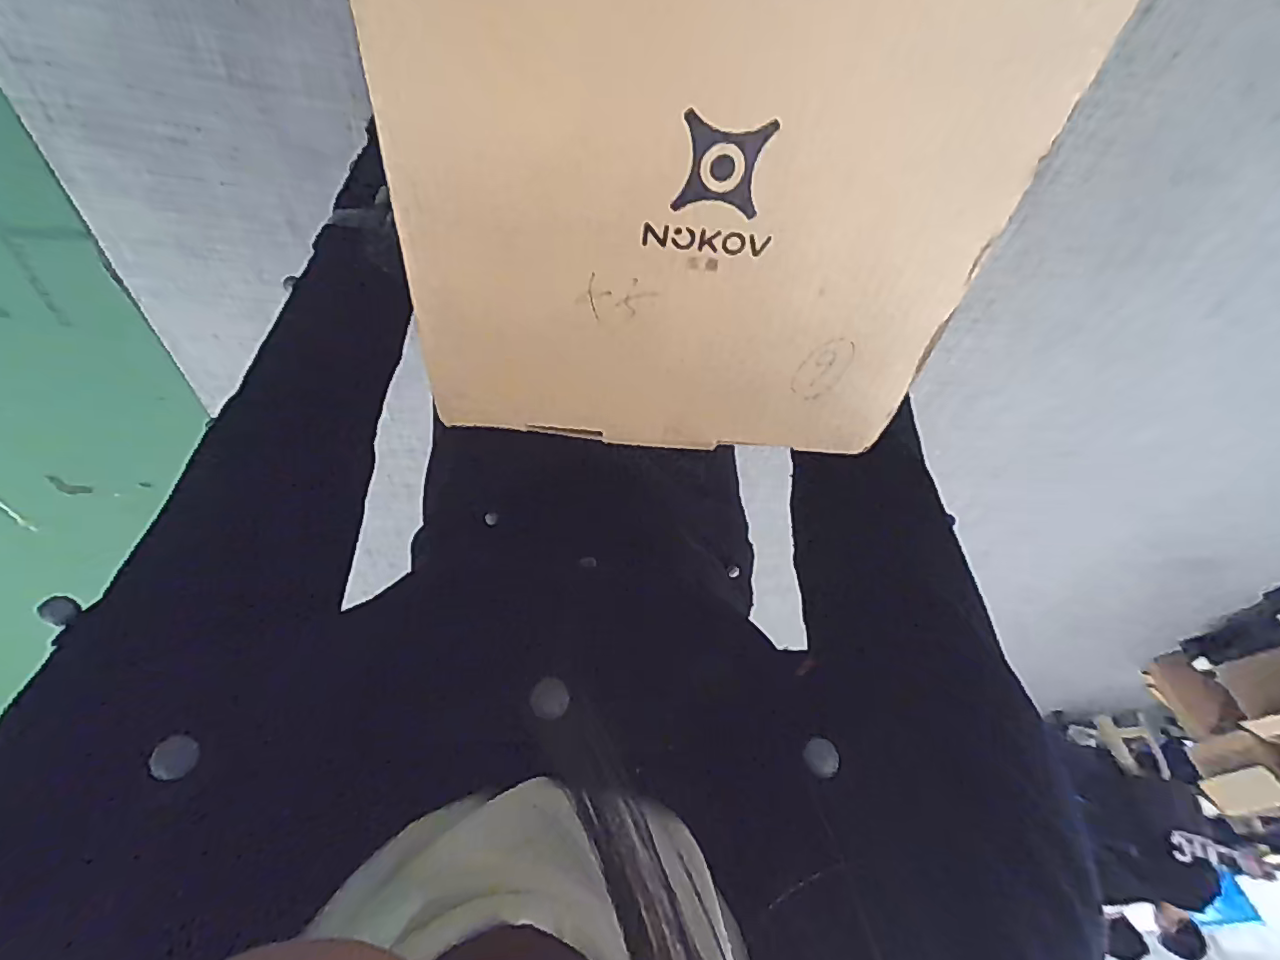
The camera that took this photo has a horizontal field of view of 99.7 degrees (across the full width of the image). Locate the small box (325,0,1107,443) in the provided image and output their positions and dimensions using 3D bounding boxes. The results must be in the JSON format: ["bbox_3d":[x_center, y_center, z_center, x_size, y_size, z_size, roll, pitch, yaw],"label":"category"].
[{"bbox_3d":[0.010,-0.136,0.196,0.168,0.176,0.179,2,138,-6],"label":"small box"}]
